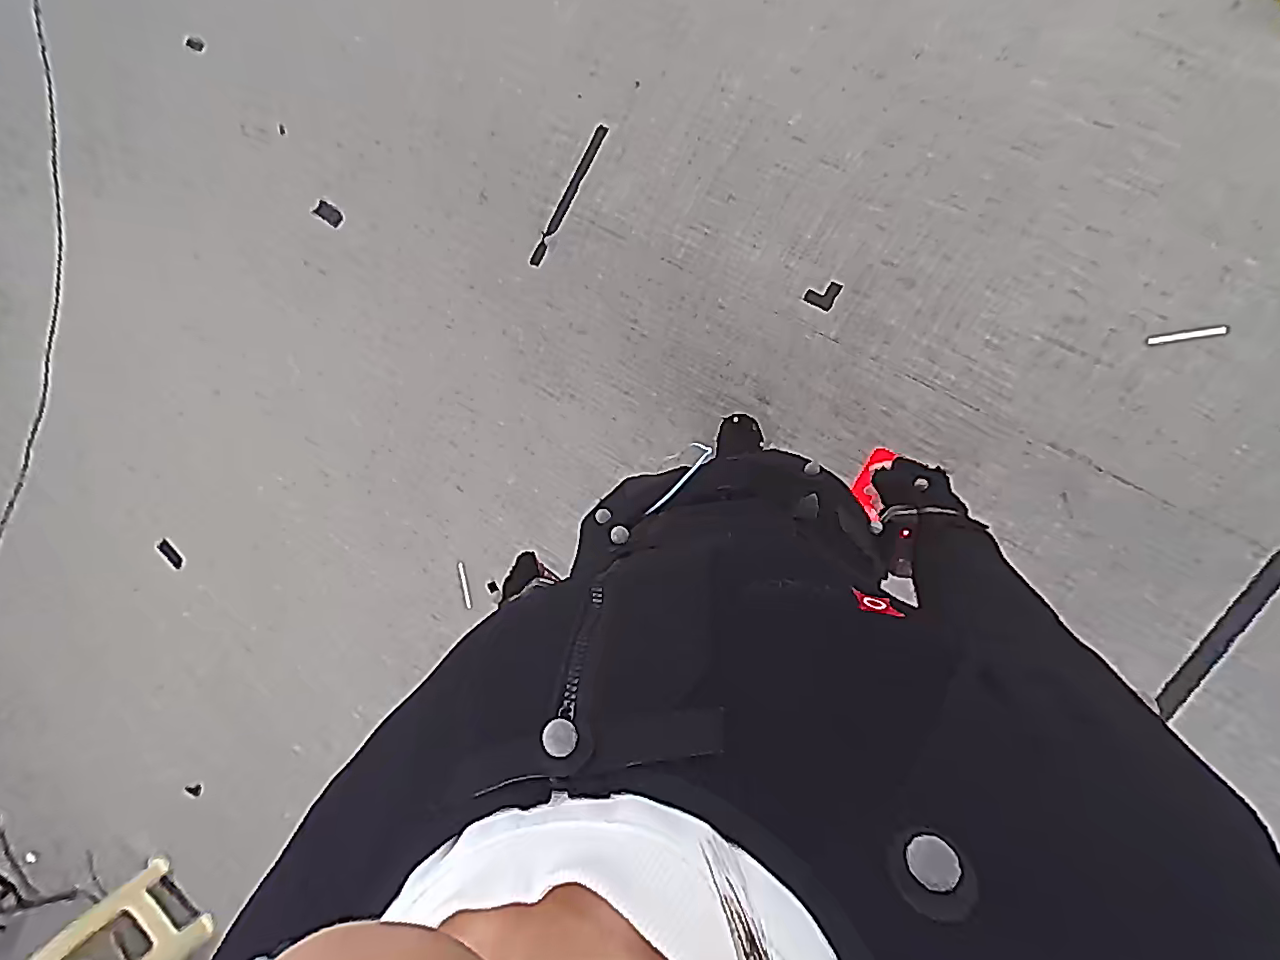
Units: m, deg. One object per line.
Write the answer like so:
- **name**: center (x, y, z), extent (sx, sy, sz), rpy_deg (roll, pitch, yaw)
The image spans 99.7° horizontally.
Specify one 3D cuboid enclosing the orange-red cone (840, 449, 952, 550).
- **orange-red cone**: center (0.575, 0.057, 1.135), extent (0.198, 0.360, 0.199), rpy_deg (30, 99, 9)
